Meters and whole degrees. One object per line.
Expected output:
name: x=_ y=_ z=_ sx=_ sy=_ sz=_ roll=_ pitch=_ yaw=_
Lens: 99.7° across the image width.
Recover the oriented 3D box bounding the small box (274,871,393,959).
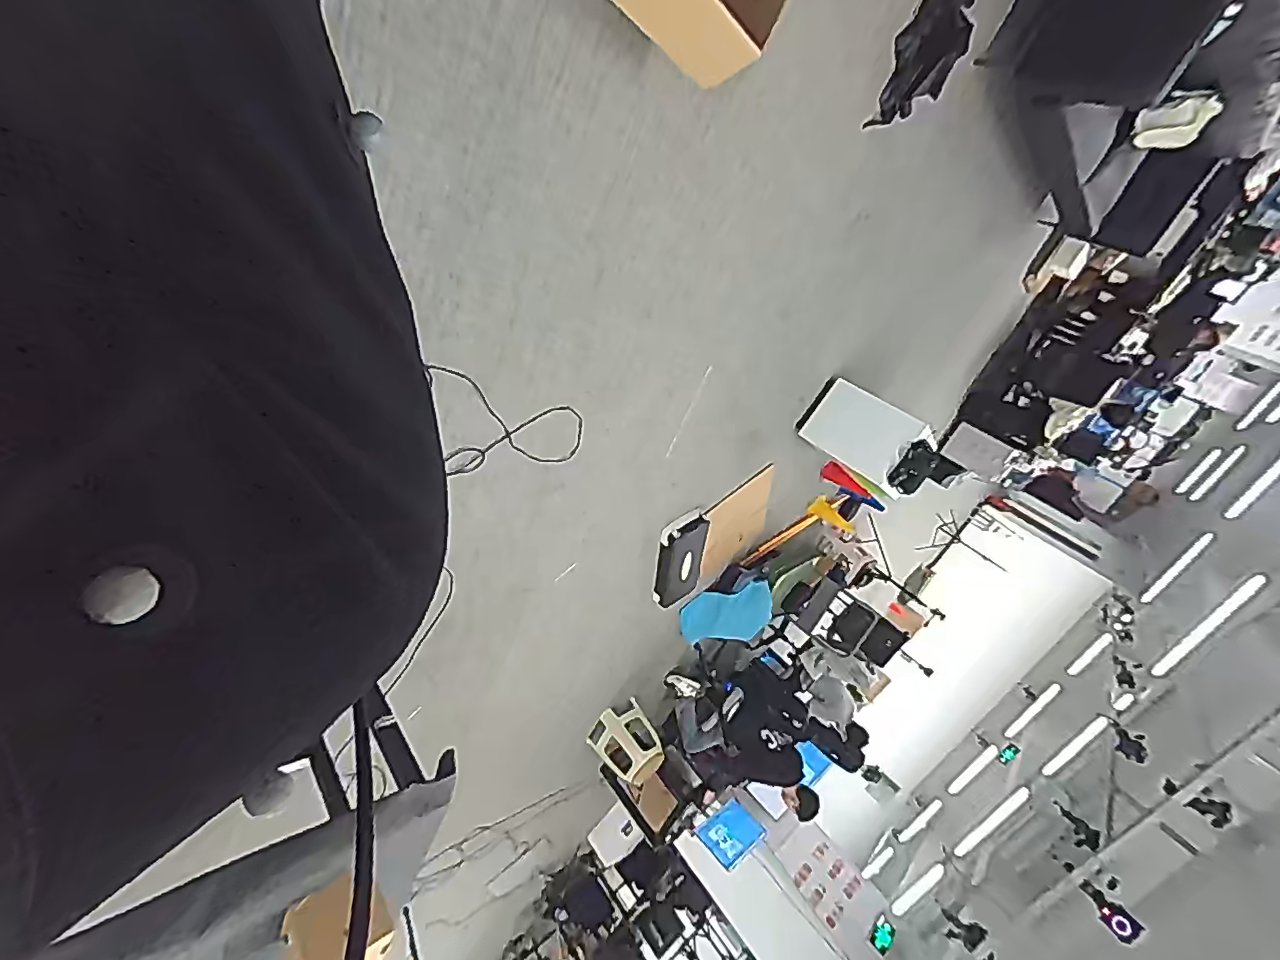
small box: x=-0.685 y=1.029 z=1.205 sx=0.179 sy=0.176 sz=0.168 roll=-2 pitch=124 yaw=-47
